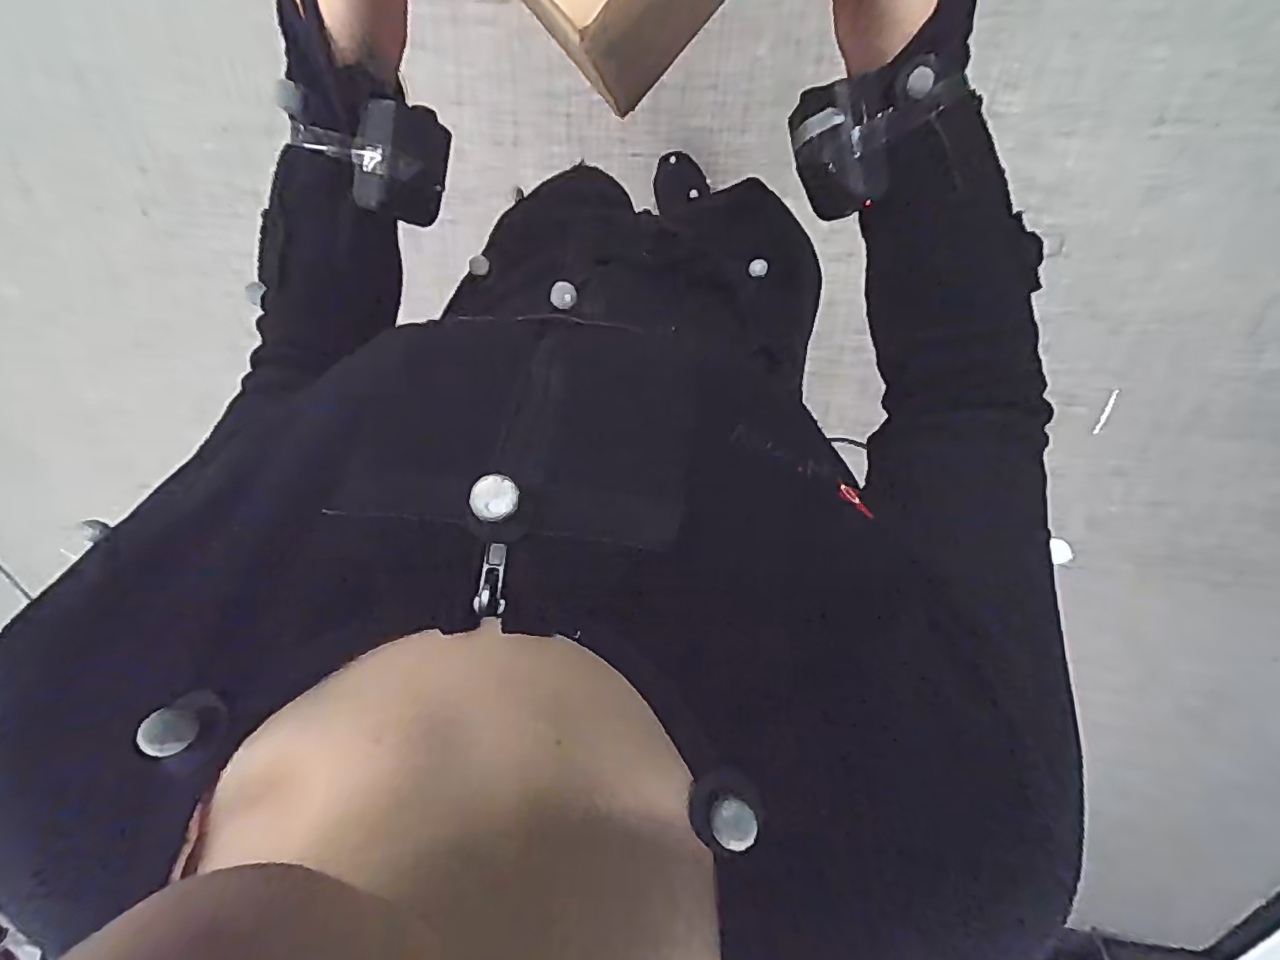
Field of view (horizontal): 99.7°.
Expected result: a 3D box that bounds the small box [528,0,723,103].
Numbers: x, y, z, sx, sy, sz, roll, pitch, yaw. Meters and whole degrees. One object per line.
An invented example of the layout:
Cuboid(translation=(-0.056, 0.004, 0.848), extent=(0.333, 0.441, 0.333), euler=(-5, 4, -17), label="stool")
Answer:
Cuboid(translation=(-0.011, -0.312, 0.237), extent=(0.179, 0.176, 0.168), euler=(-40, 106, 21), label="small box")
